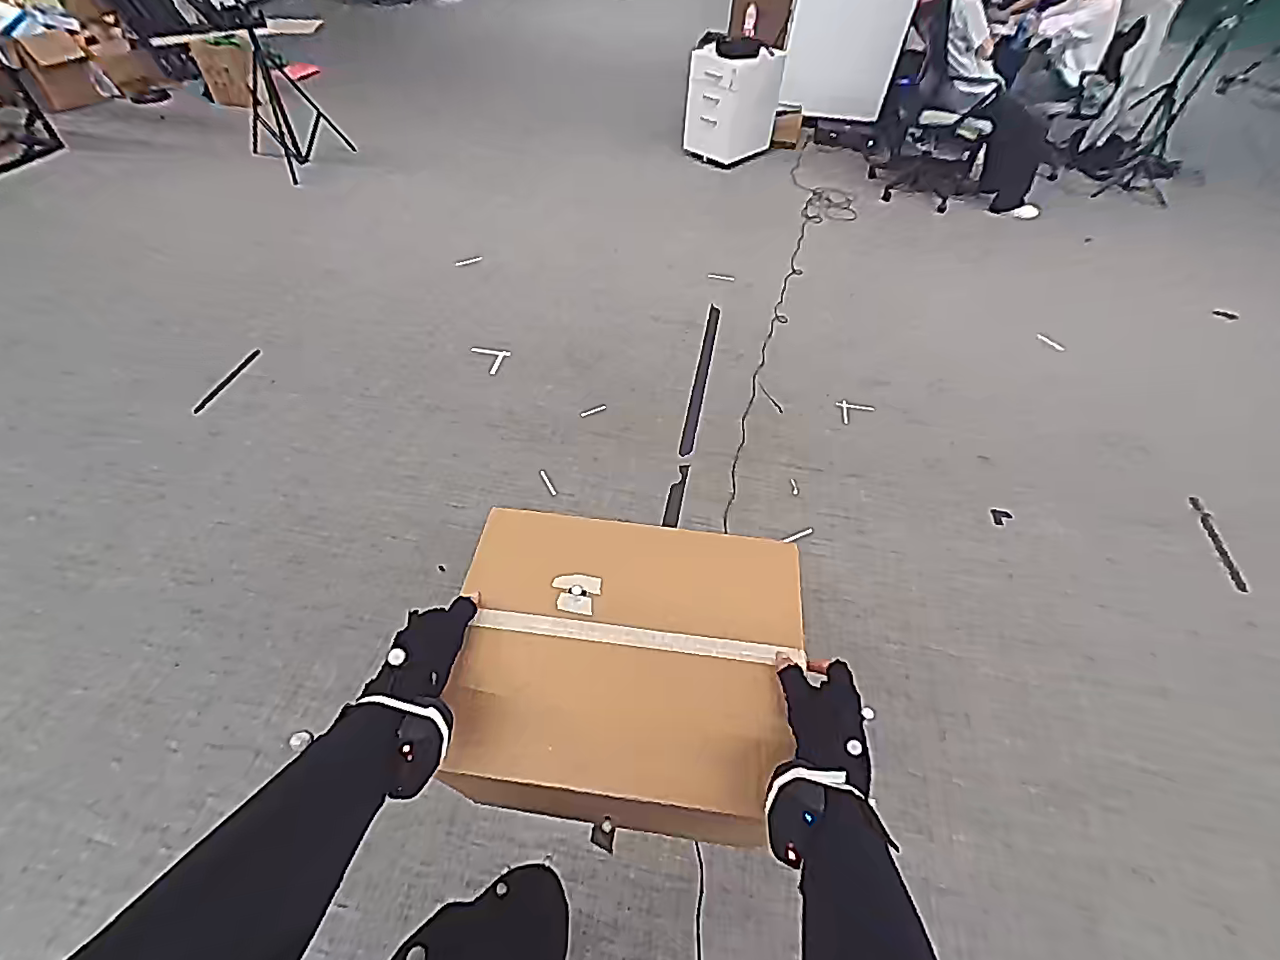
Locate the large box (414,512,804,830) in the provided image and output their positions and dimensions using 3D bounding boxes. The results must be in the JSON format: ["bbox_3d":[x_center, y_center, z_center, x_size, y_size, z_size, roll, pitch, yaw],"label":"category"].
[{"bbox_3d":[-0.018,0.272,0.748,0.408,0.320,0.320,6,52,4],"label":"large box"}]
